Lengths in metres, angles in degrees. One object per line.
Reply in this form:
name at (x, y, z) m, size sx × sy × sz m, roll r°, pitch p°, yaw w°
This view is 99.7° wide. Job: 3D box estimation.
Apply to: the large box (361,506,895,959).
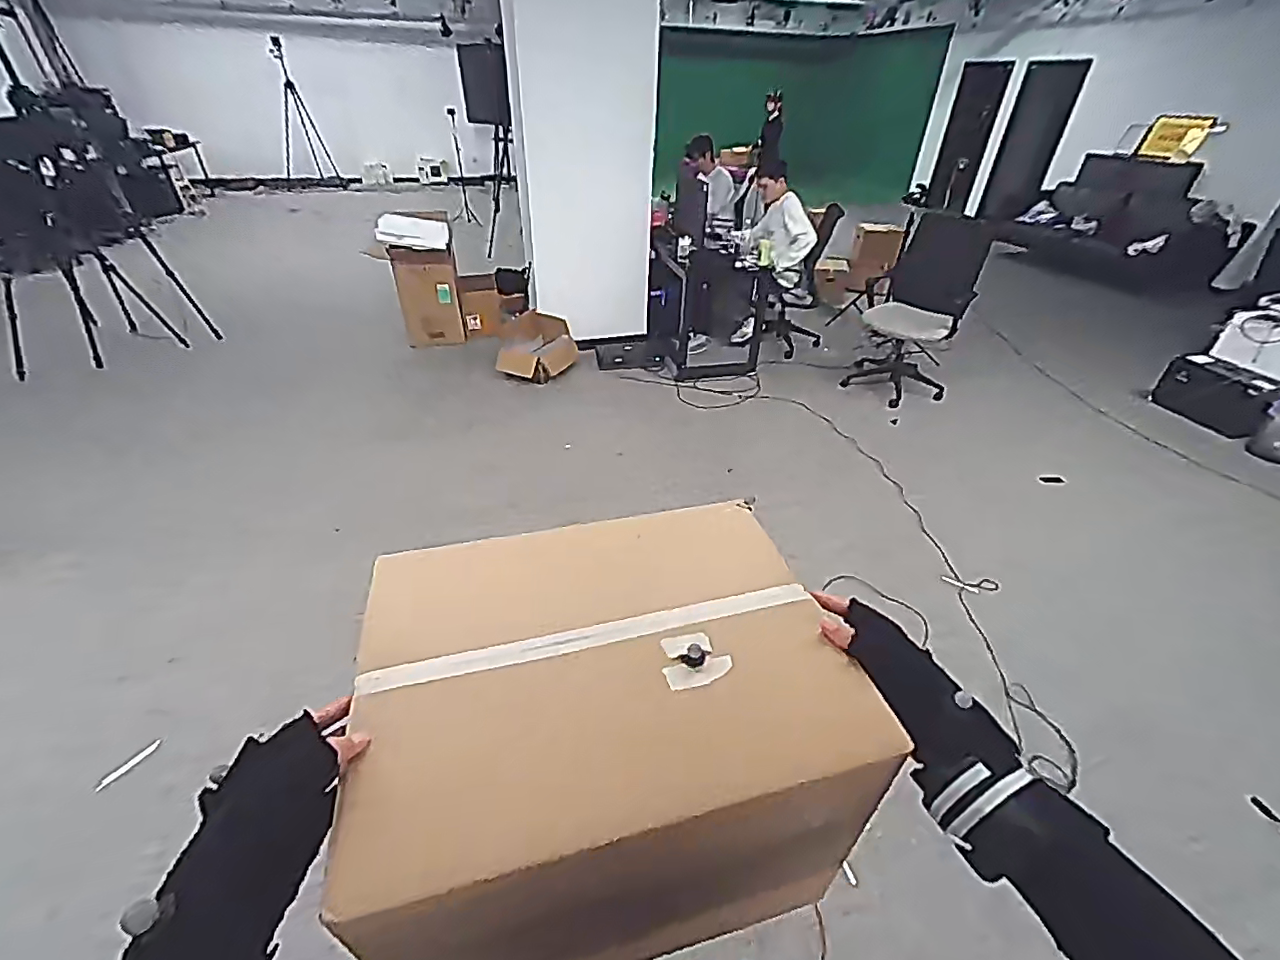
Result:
large box at (-0.031, 0.267, 0.579) m, size 0.408 × 0.320 × 0.320 m, roll -8°, pitch 37°, yaw -14°
